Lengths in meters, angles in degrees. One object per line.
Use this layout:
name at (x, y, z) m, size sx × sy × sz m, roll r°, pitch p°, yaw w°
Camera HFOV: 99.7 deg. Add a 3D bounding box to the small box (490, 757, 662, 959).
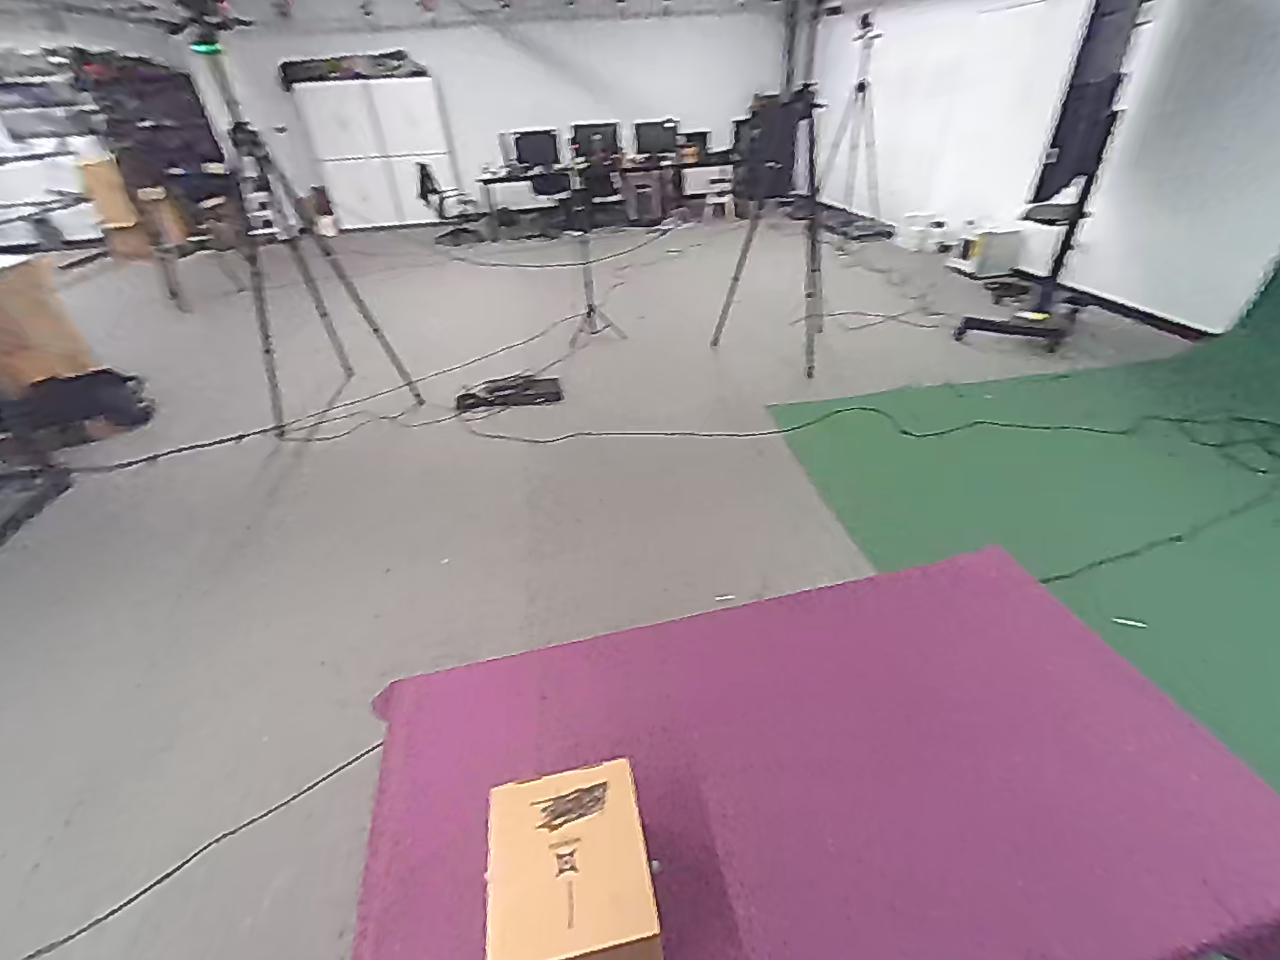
small box at (-0.073, 0.462, 0.627) m, size 0.168 × 0.176 × 0.179 m, roll -9°, pitch 37°, yaw -7°
